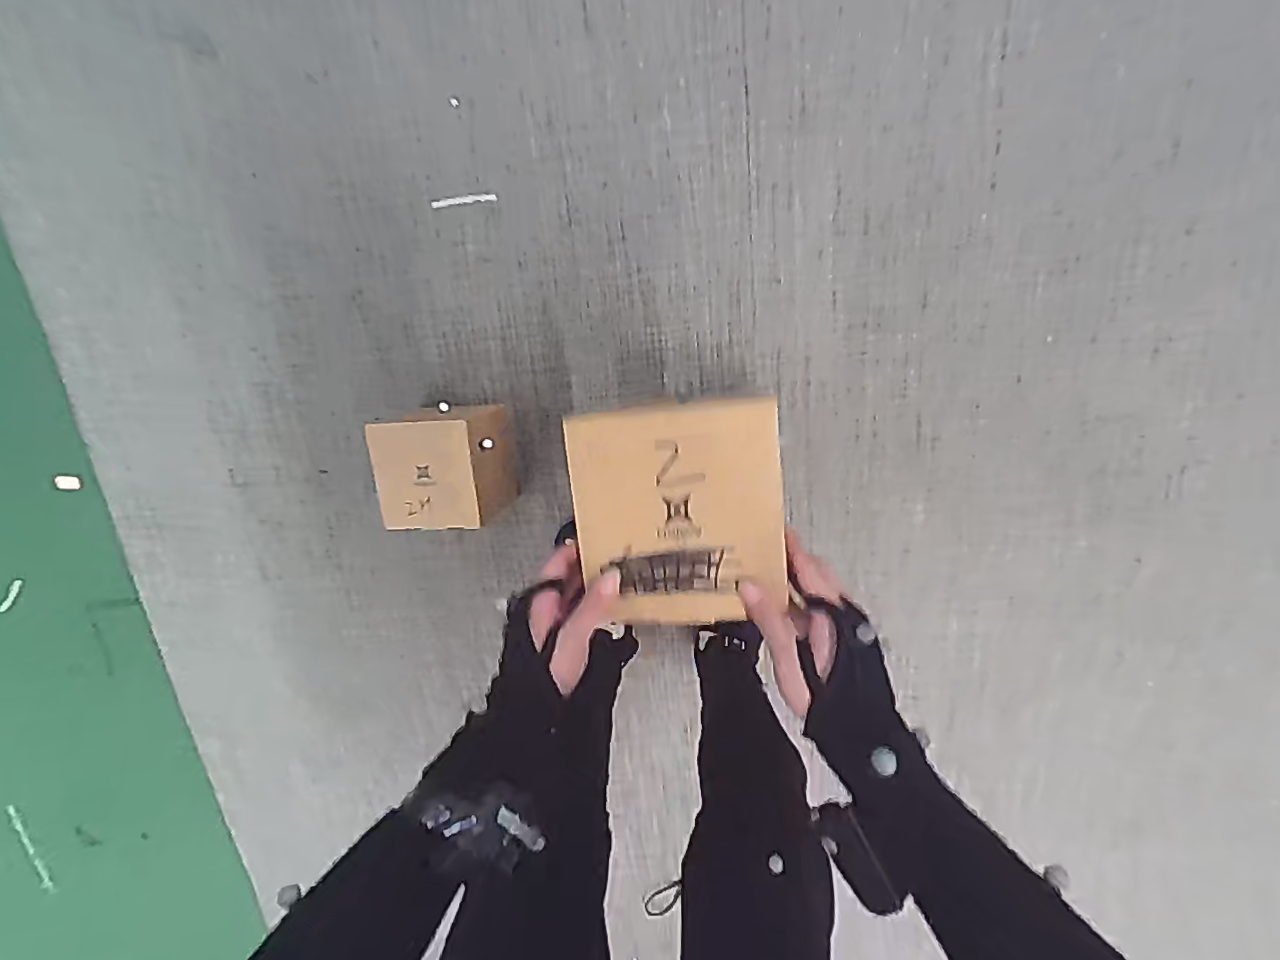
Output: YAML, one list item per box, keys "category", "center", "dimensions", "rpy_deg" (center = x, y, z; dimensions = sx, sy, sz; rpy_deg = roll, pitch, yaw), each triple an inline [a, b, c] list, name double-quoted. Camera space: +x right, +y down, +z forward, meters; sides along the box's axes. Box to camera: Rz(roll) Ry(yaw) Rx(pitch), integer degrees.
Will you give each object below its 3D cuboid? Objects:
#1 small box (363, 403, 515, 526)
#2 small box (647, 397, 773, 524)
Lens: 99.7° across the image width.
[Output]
- category: "small box"
  center: [-0.321, -0.033, 0.899]
  dimensions: [0.168, 0.176, 0.179]
  rpy_deg: [-2, 106, 9]
- category: "small box"
  center: [0.109, -0.036, 0.841]
  dimensions: [0.179, 0.176, 0.168]
  rpy_deg: [-1, 106, 7]
